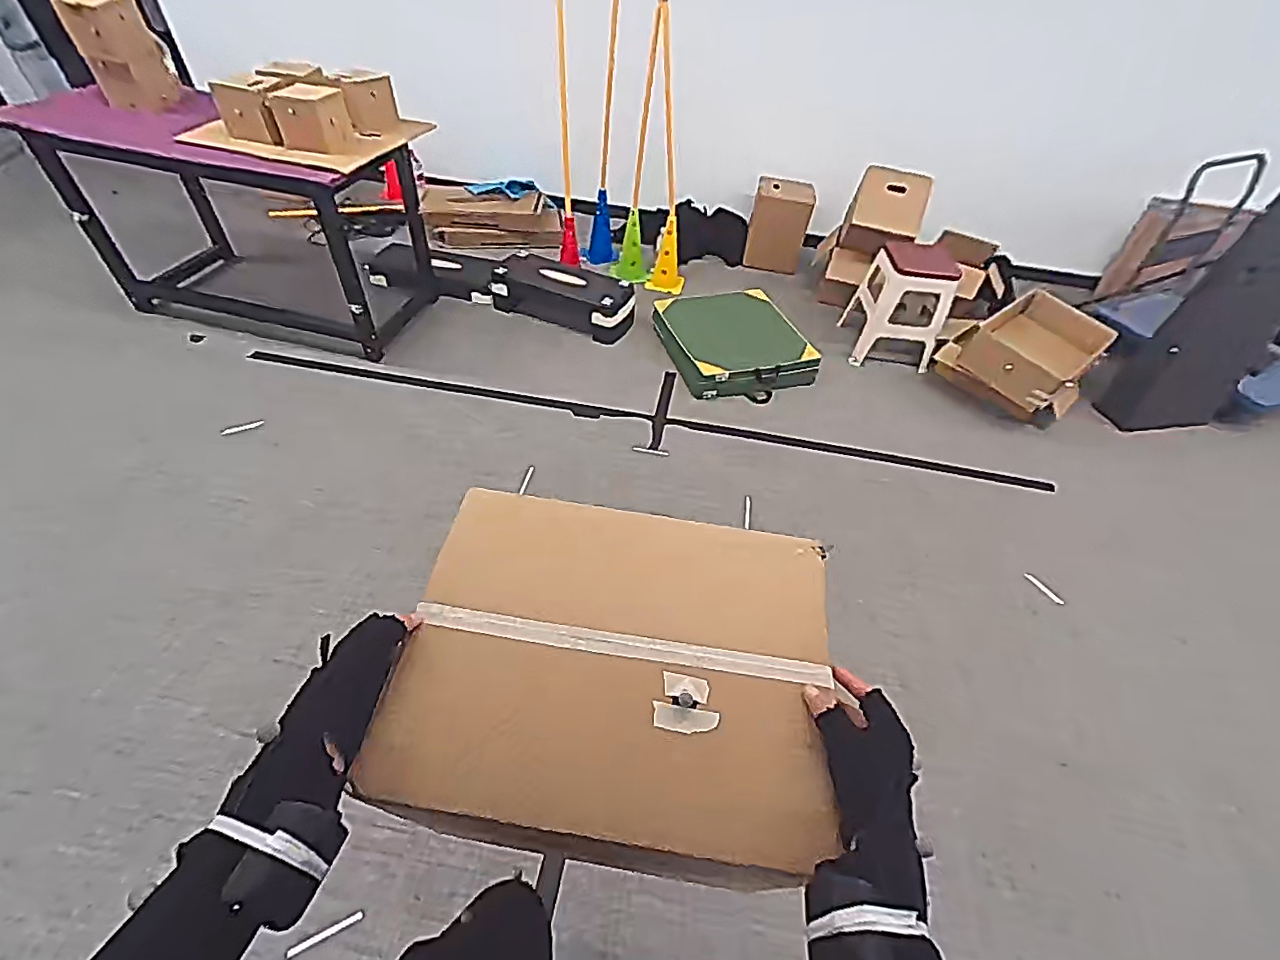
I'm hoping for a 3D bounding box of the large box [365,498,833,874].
[{"bbox_3d":[-0.029,0.256,0.655,0.408,0.320,0.320,9,53,2],"label":"large box"}]
